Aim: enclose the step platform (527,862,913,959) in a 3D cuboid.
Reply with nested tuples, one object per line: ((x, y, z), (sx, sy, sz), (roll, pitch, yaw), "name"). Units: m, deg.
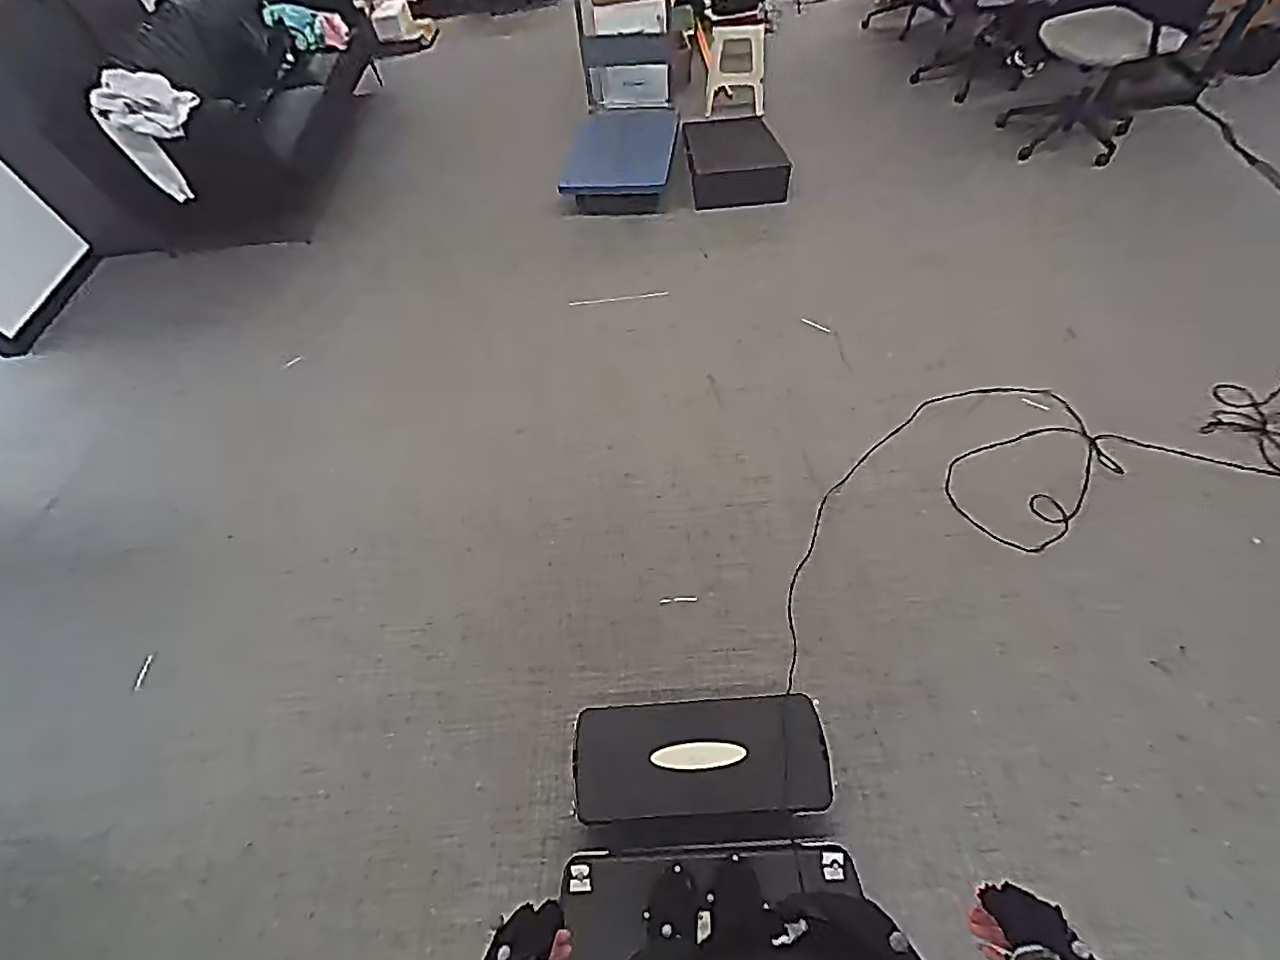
((0.140, 0.909, 1.017), (0.684, 0.204, 0.286), (-4, 55, 2), "step platform")
